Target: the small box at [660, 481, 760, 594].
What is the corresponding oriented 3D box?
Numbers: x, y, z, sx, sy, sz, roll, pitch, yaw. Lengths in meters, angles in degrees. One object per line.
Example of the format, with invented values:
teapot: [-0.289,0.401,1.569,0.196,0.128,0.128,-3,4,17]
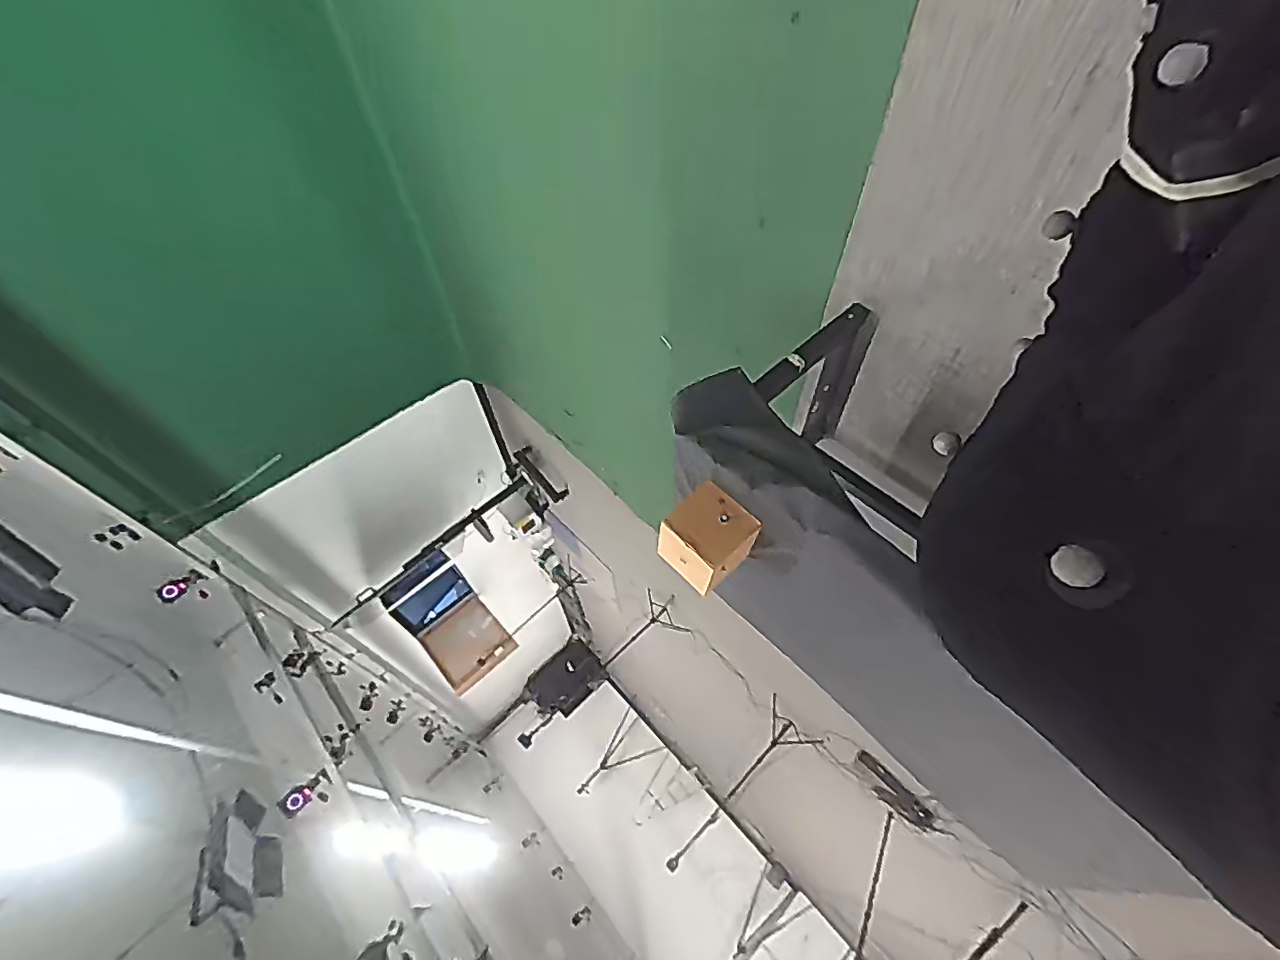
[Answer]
small box: [0.167,0.136,1.300,0.168,0.176,0.179,42,156,22]
